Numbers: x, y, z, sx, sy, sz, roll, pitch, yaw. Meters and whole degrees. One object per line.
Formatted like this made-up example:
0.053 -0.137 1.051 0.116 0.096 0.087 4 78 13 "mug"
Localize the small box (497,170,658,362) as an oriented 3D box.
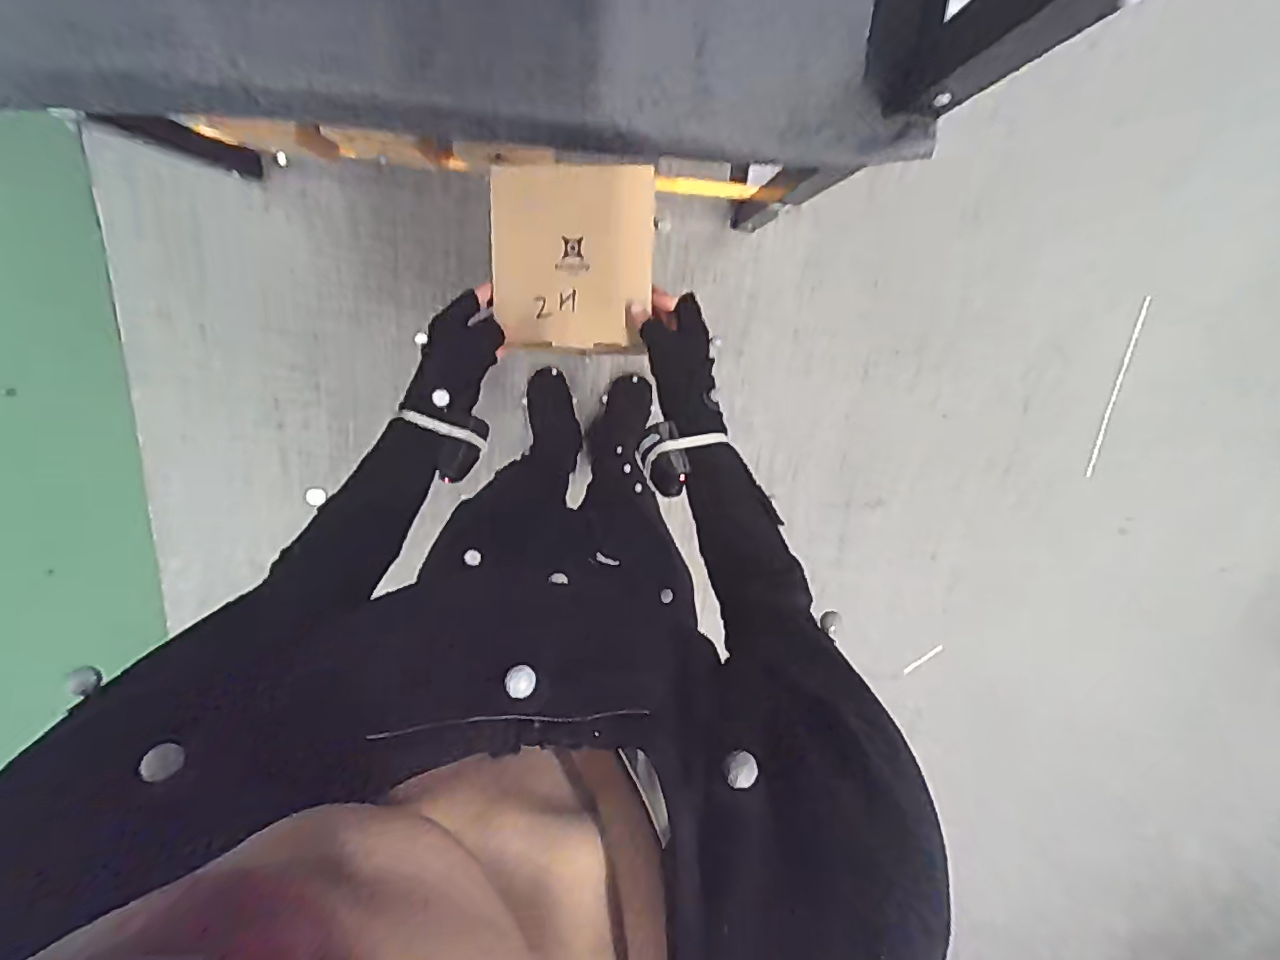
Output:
-0.064 -0.237 0.636 0.168 0.176 0.179 1 98 2 "small box"
